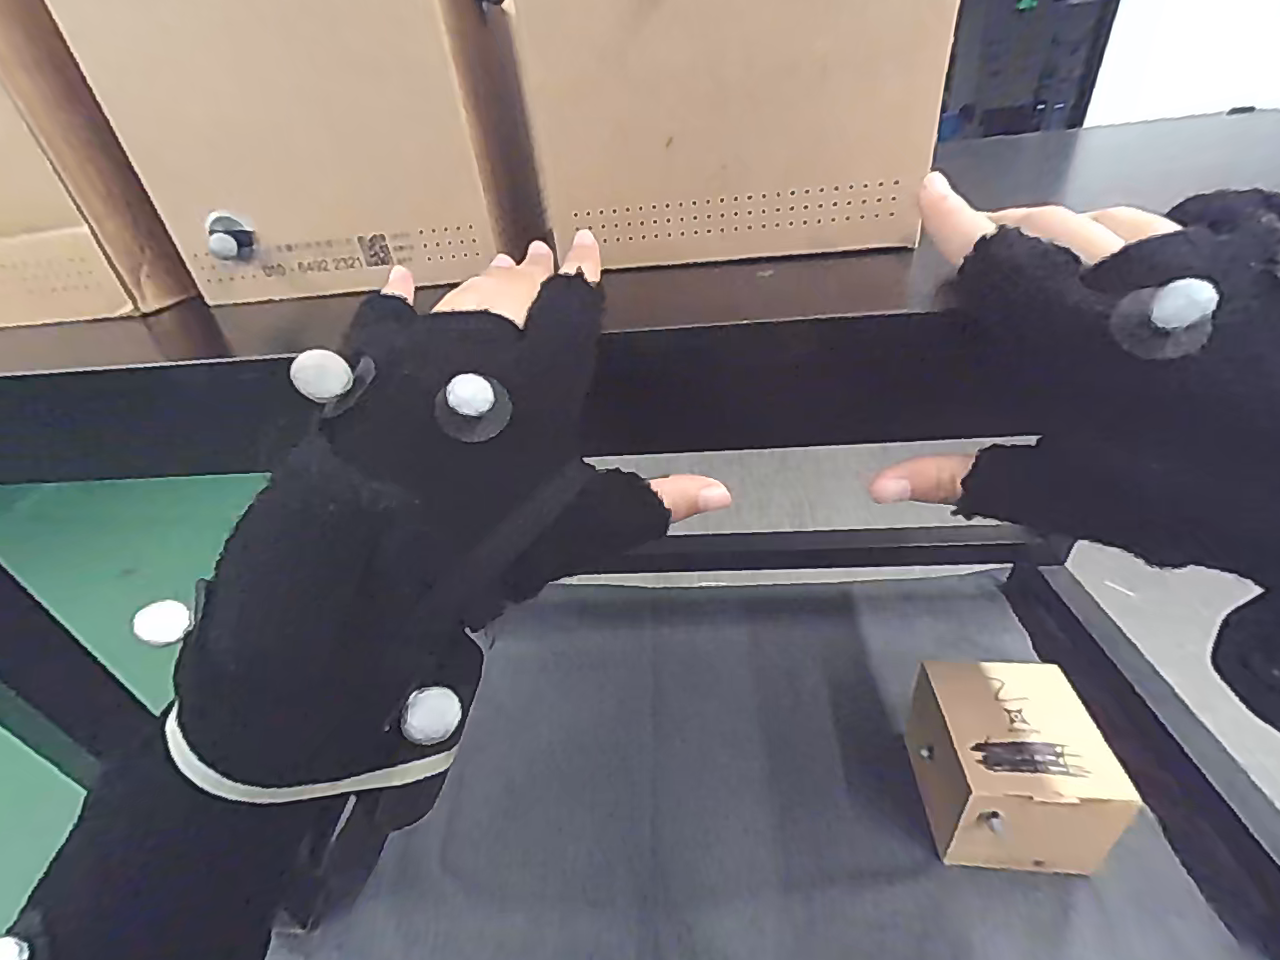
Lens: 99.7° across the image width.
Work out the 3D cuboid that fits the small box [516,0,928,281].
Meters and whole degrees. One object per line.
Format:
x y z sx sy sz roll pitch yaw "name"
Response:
0.041 -0.213 0.291 0.179 0.176 0.168 0 35 9 "small box"
